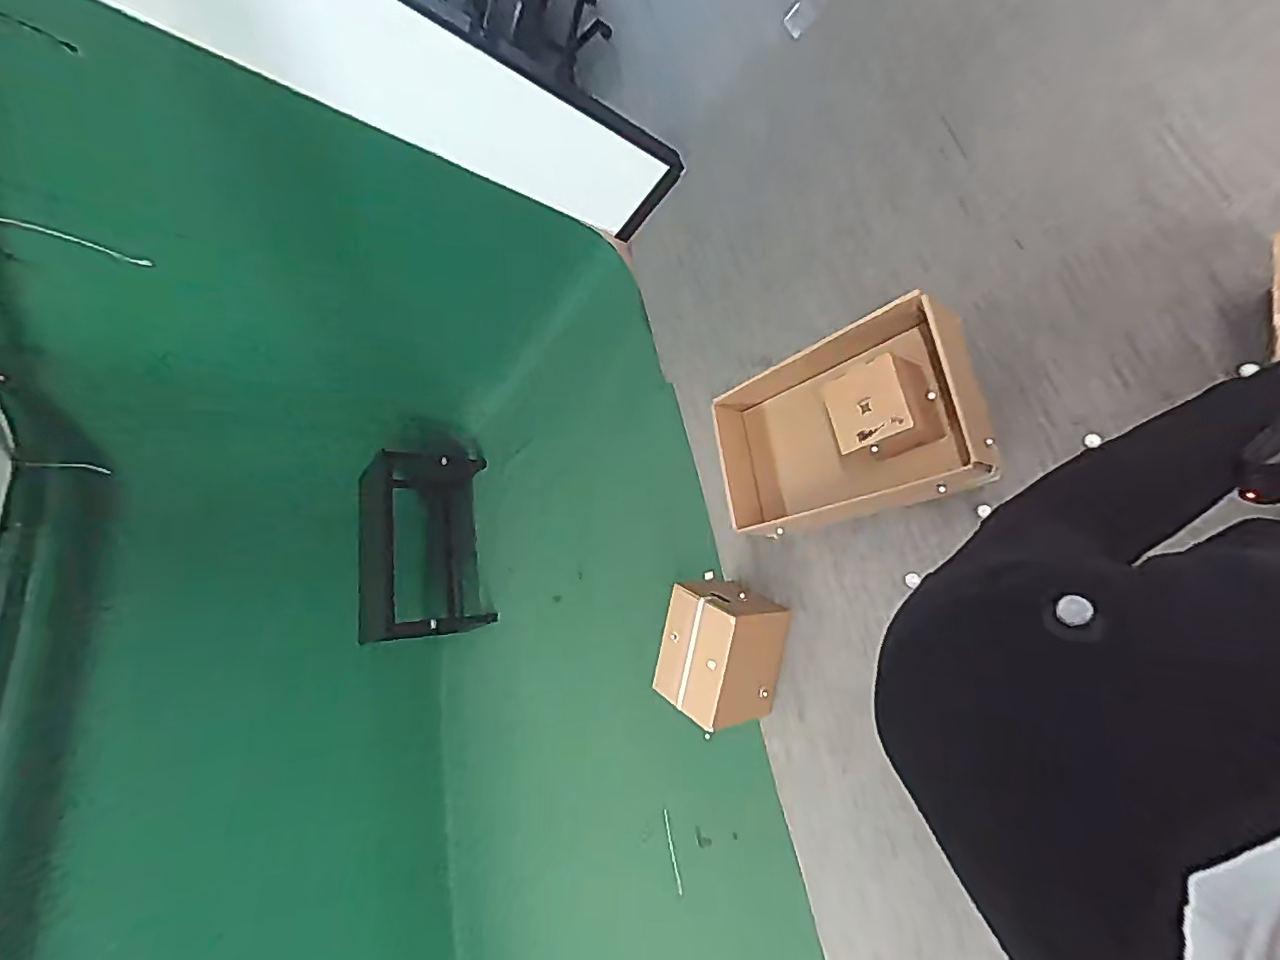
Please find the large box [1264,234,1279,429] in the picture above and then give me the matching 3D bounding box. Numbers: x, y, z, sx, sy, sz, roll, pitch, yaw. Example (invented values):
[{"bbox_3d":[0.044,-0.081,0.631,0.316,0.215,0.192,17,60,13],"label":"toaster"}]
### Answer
[{"bbox_3d":[1.320,-0.264,0.868,0.408,0.320,0.320,-1,85,51],"label":"large box"}]
